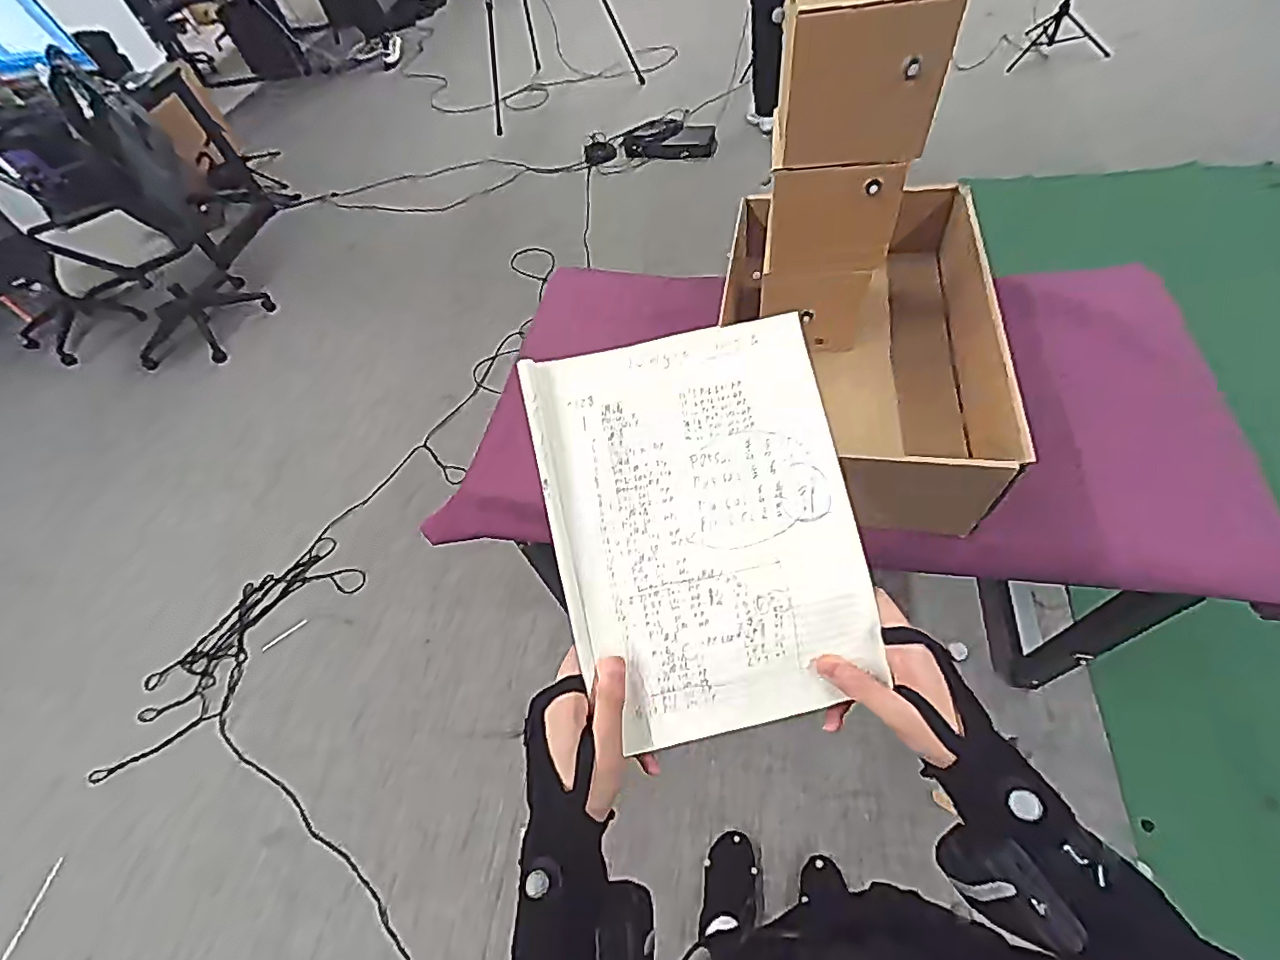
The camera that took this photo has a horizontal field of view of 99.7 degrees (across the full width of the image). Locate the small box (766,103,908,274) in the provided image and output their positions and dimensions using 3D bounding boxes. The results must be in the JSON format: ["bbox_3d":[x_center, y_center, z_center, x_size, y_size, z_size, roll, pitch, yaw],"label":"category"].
[{"bbox_3d":[0.283,-0.429,0.814,0.179,0.176,0.168,3,58,12],"label":"small box"}]

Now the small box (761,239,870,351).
[{"bbox_3d":[0.303,-0.346,0.950,0.168,0.176,0.179,5,59,13],"label":"small box"}]
